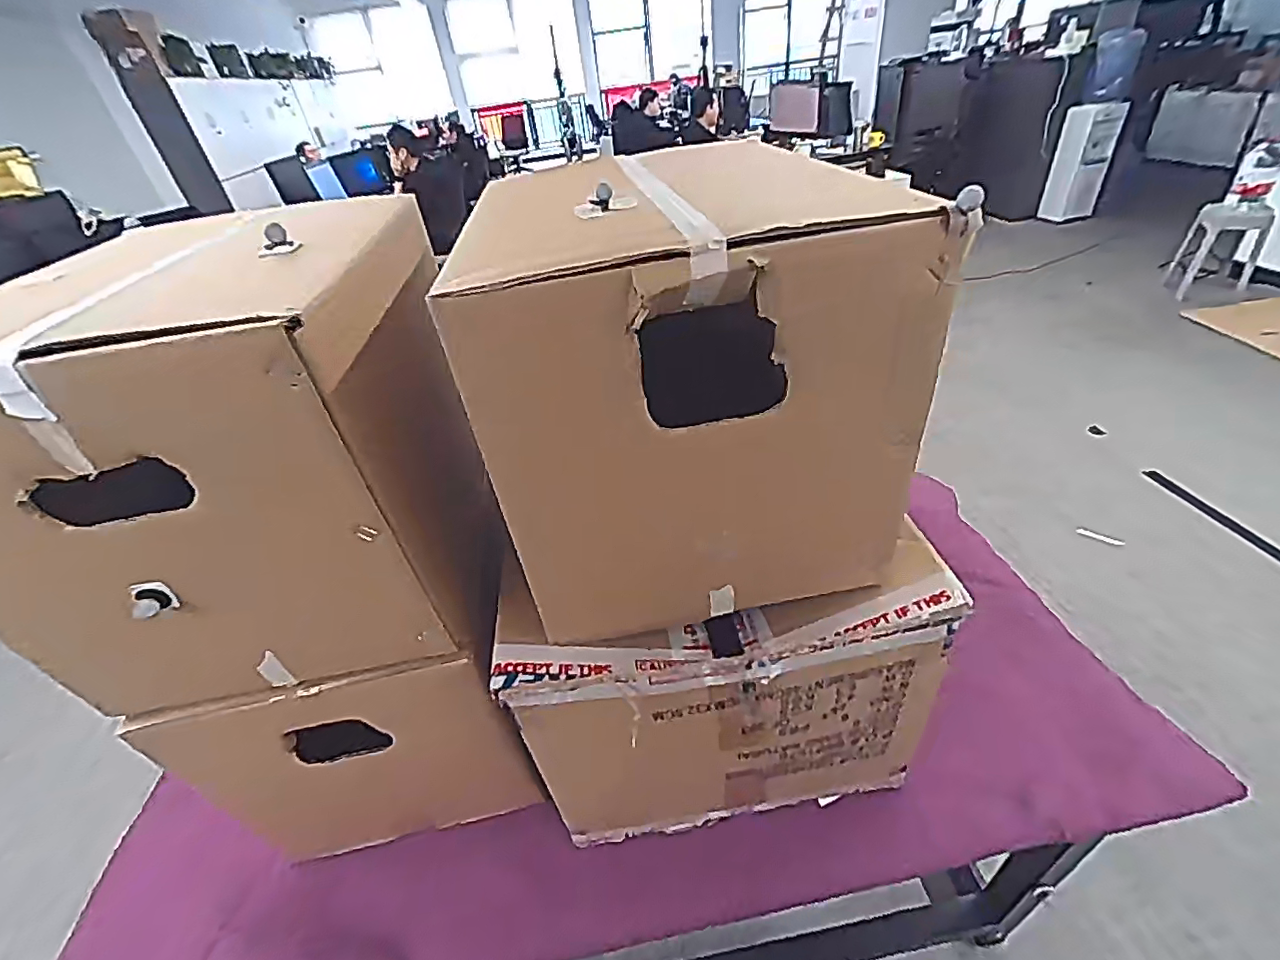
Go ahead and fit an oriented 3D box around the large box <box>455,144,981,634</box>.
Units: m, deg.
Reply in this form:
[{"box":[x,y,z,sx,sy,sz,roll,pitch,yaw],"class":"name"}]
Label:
[{"box":[0.032,-0.122,0.547,0.320,0.320,0.408,-11,38,-2],"class":"large box"}]
